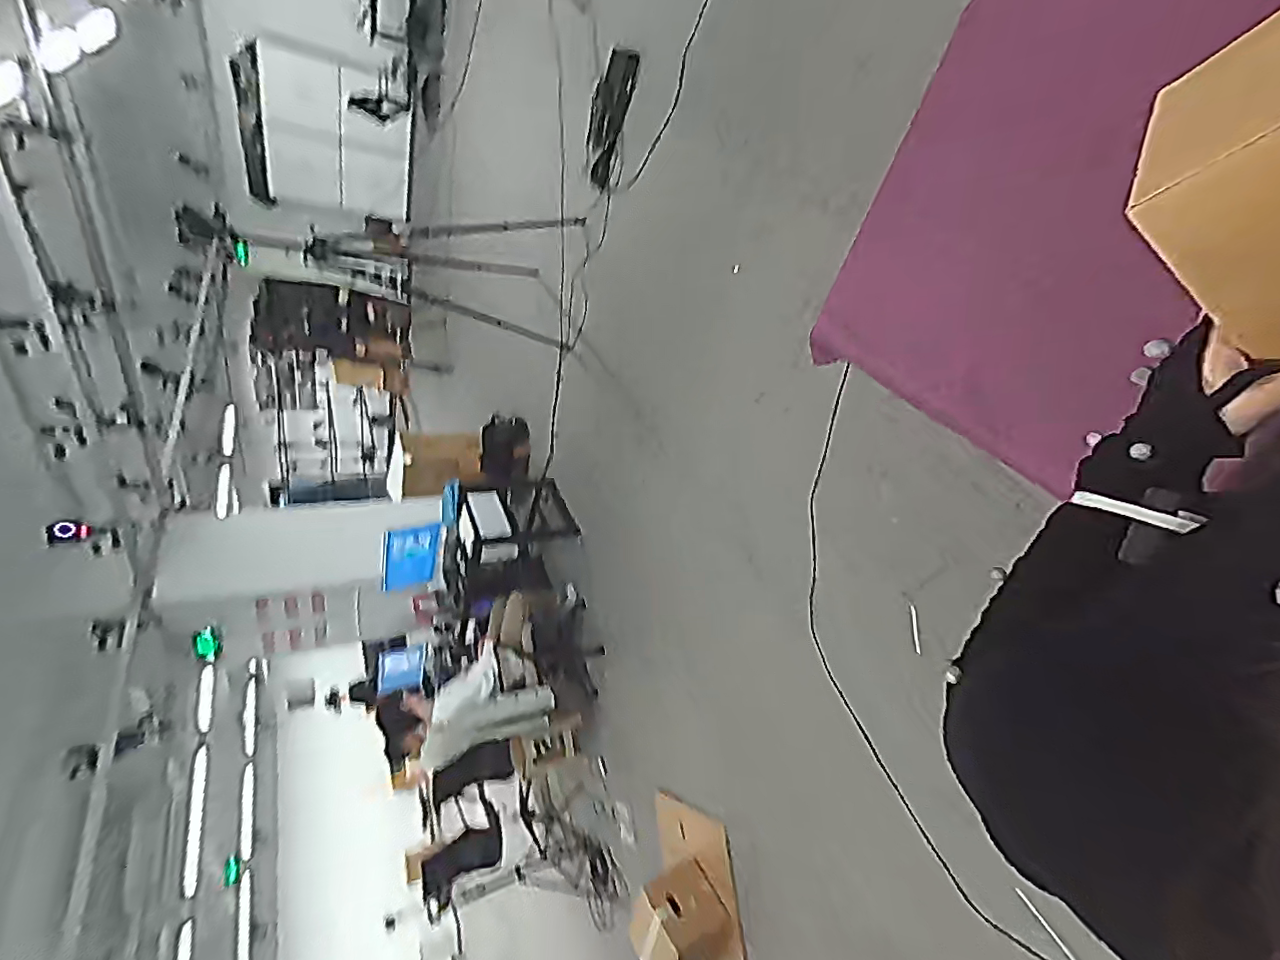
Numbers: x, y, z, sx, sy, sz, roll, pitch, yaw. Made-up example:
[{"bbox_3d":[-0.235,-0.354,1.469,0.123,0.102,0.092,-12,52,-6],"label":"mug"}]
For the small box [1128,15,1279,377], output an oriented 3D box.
[{"bbox_3d":[0.449,-0.200,0.321,0.168,0.176,0.179,41,154,-12],"label":"small box"}]
